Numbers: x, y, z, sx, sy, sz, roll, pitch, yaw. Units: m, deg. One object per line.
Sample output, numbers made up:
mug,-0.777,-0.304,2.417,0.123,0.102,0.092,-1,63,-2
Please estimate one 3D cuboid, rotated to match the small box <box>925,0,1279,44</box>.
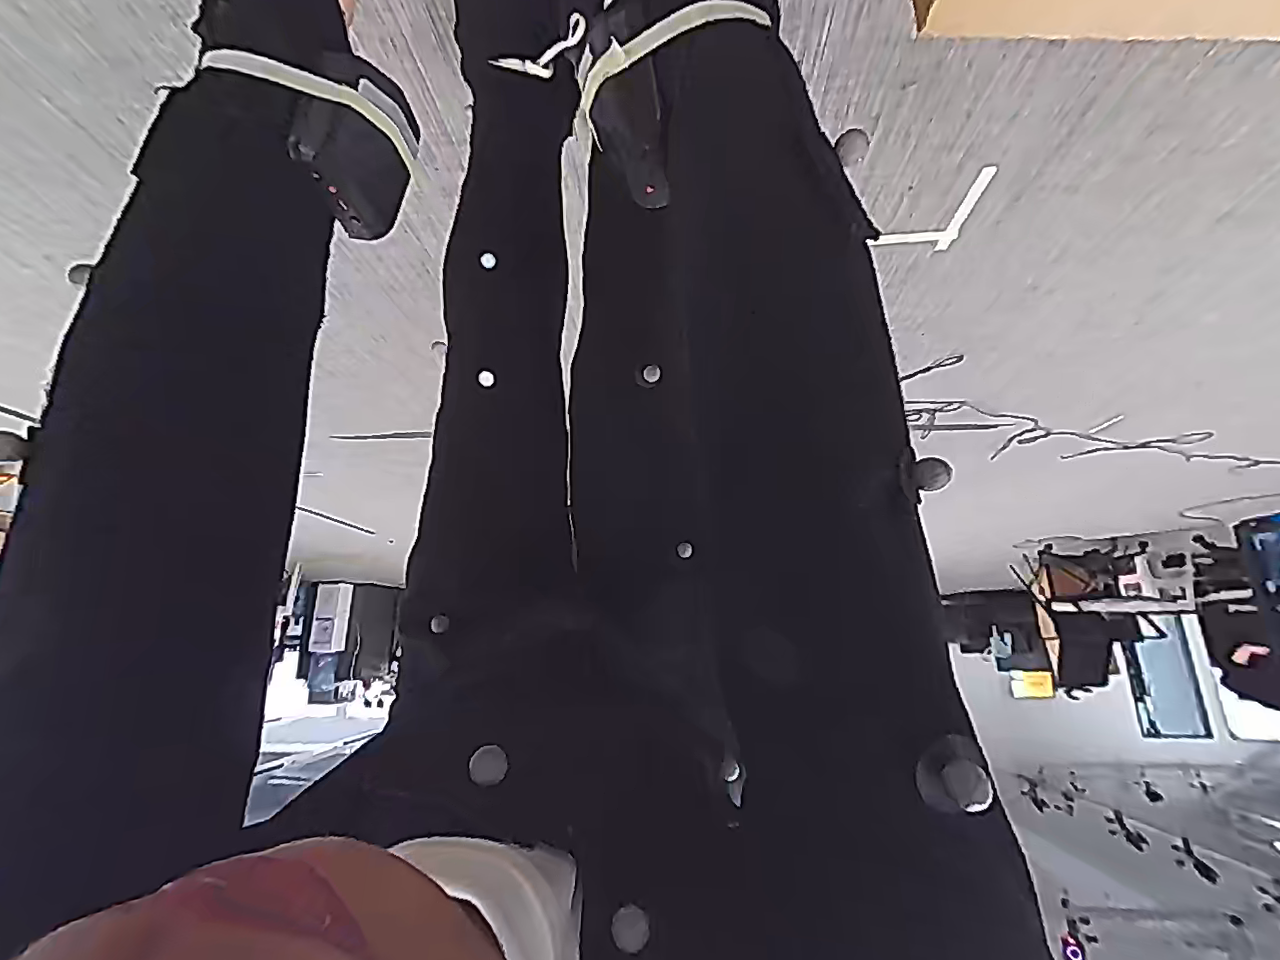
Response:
small box,0.199,-0.272,0.155,0.179,0.176,0.168,1,164,0
